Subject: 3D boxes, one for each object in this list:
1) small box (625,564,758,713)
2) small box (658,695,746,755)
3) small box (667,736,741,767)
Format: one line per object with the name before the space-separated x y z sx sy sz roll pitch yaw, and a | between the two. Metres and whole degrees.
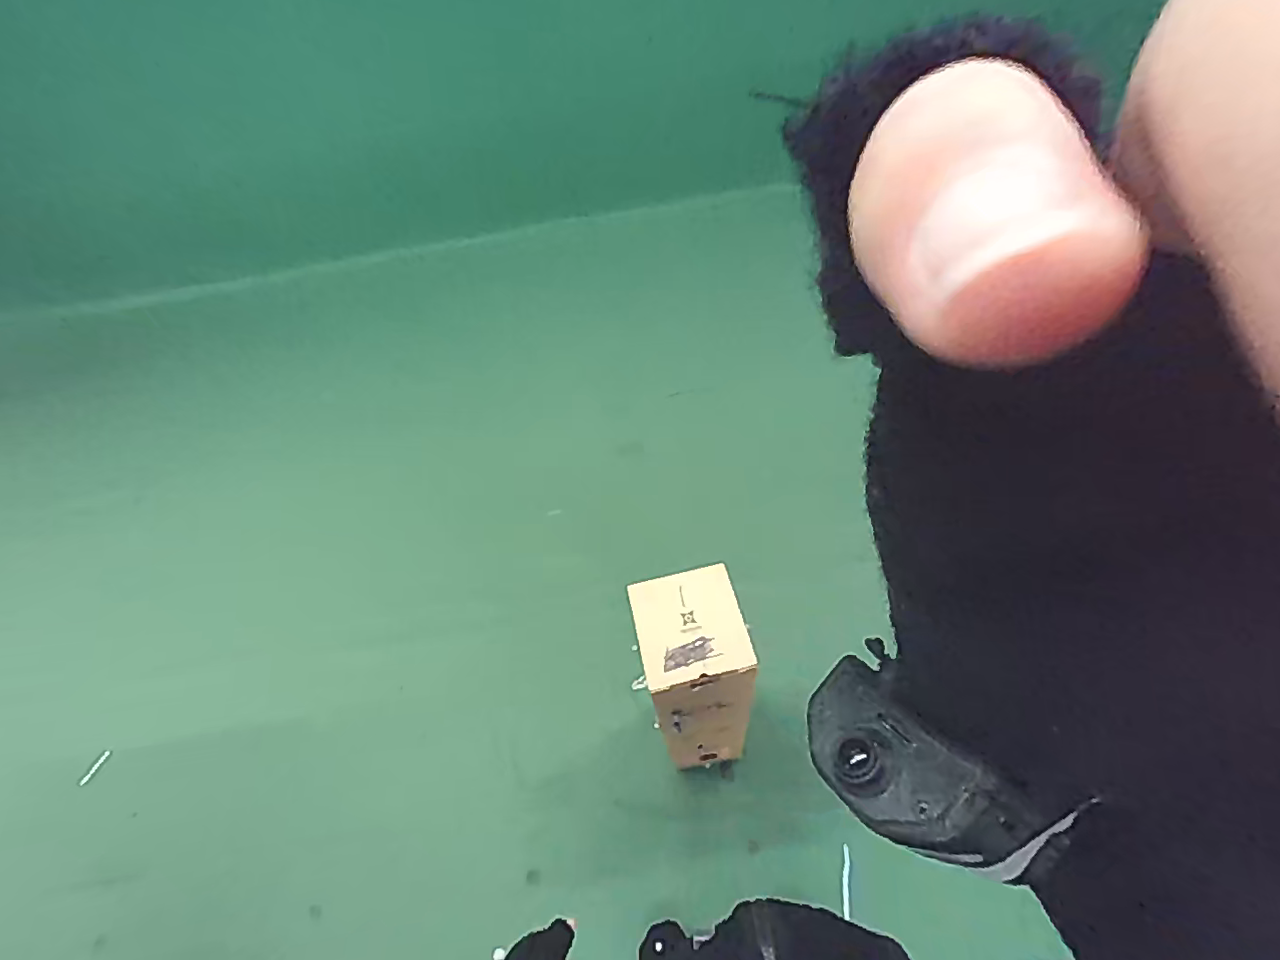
small box | 0.083 0.269 0.893 0.168 0.176 0.179 -15 55 -5
small box | 0.118 0.464 1.154 0.168 0.176 0.179 -12 54 -2
small box | 0.136 0.561 1.284 0.168 0.176 0.179 -11 53 0
